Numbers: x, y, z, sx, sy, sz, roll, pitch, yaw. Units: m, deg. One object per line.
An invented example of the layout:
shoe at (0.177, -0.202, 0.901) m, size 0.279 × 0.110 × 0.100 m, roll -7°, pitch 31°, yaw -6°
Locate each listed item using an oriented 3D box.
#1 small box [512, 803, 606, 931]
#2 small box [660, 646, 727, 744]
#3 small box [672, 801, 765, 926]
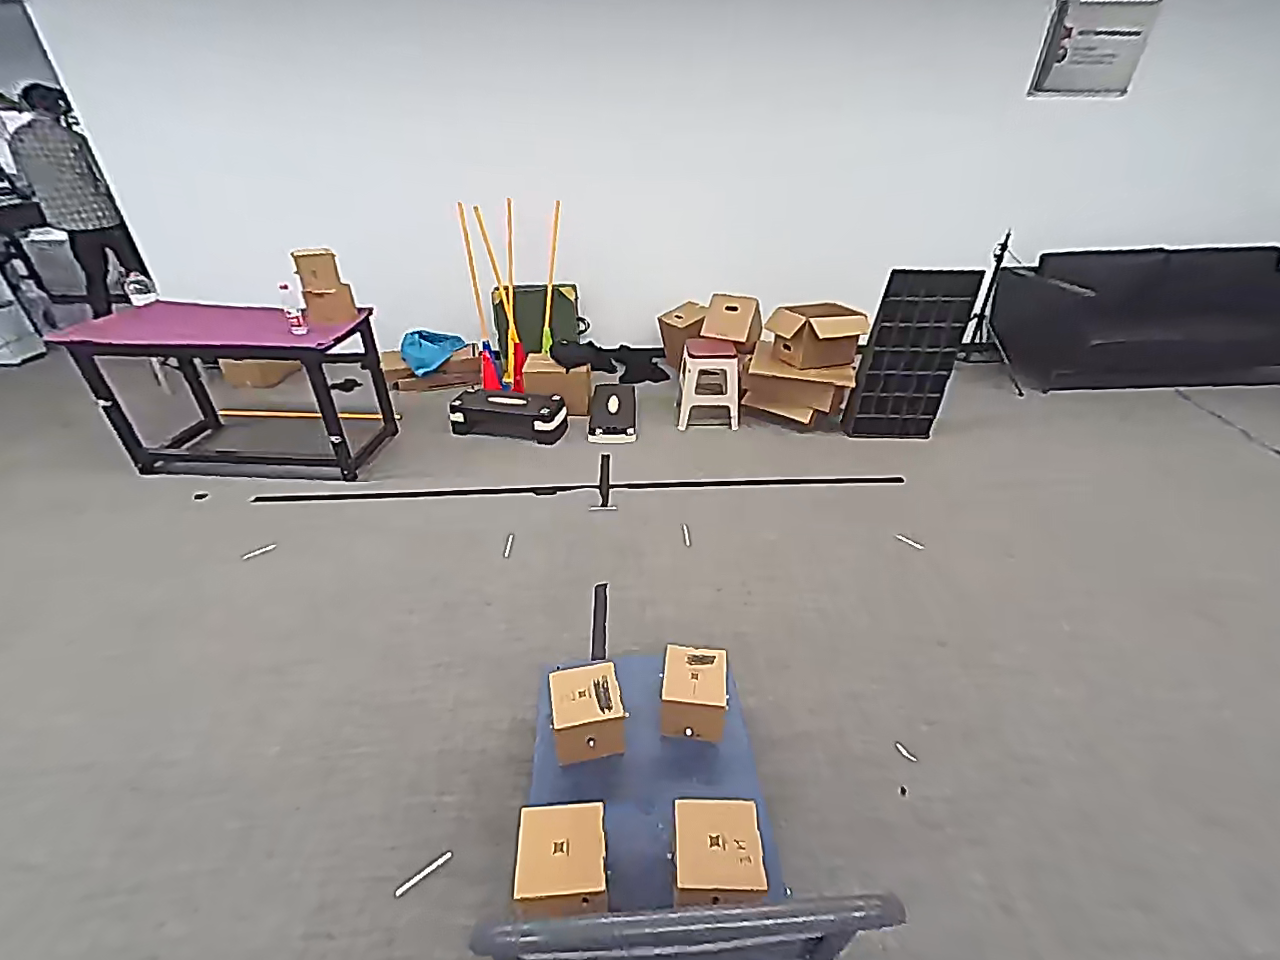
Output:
small box at (-0.162, 0.806, 1.126) m, size 0.179 × 0.176 × 0.168 m, roll -1°, pitch 33°, yaw -5°
small box at (0.145, 0.583, 1.471) m, size 0.168 × 0.176 × 0.179 m, roll 5°, pitch 34°, yaw 6°
small box at (0.156, 0.804, 1.135) m, size 0.179 × 0.176 × 0.168 m, roll 1°, pitch 34°, yaw 1°
